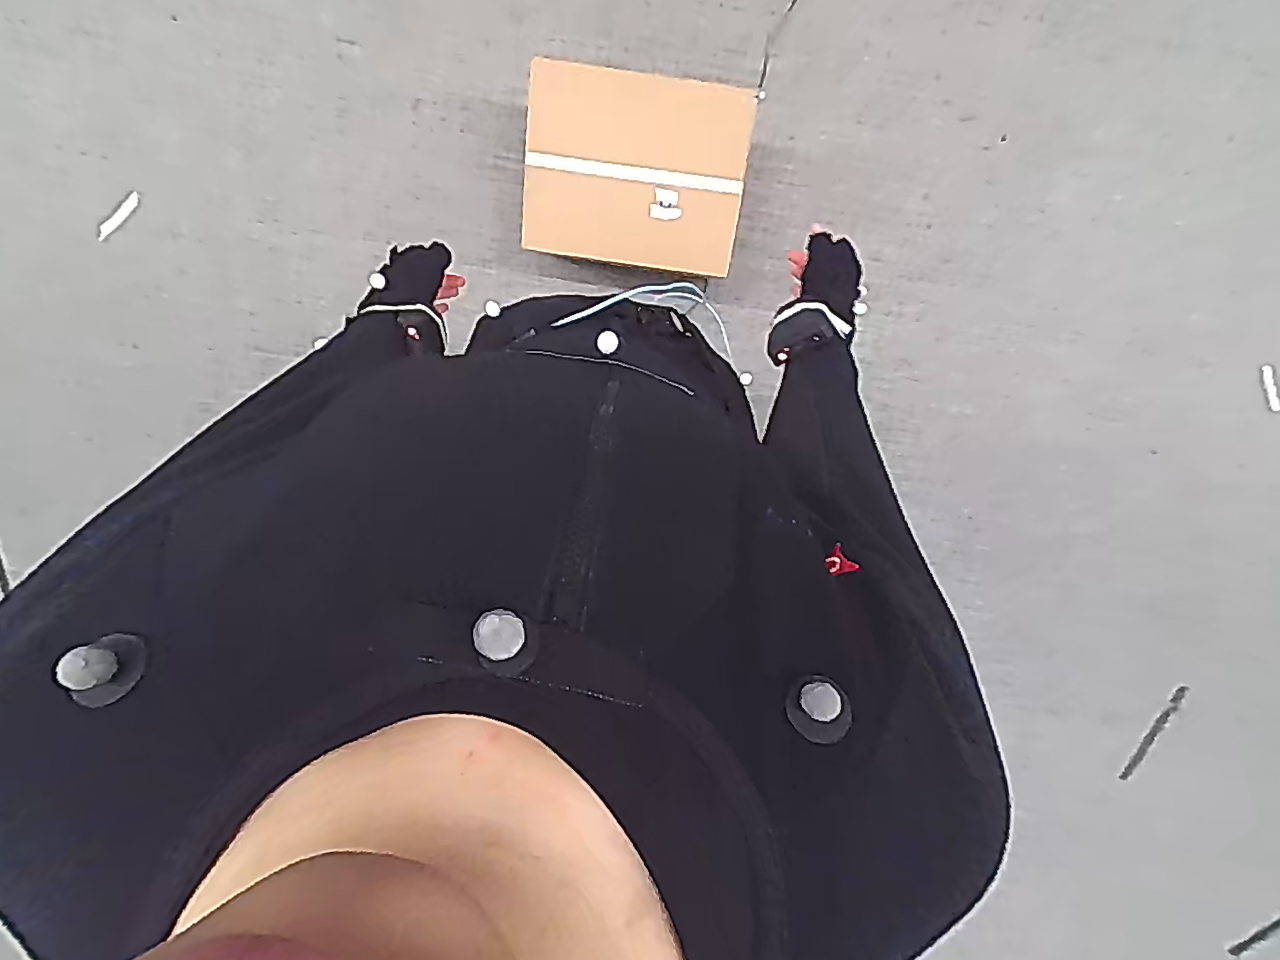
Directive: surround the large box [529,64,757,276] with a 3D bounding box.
[{"bbox_3d":[-0.004,-0.623,1.151,0.408,0.320,0.320,7,111,-2],"label":"large box"}]
